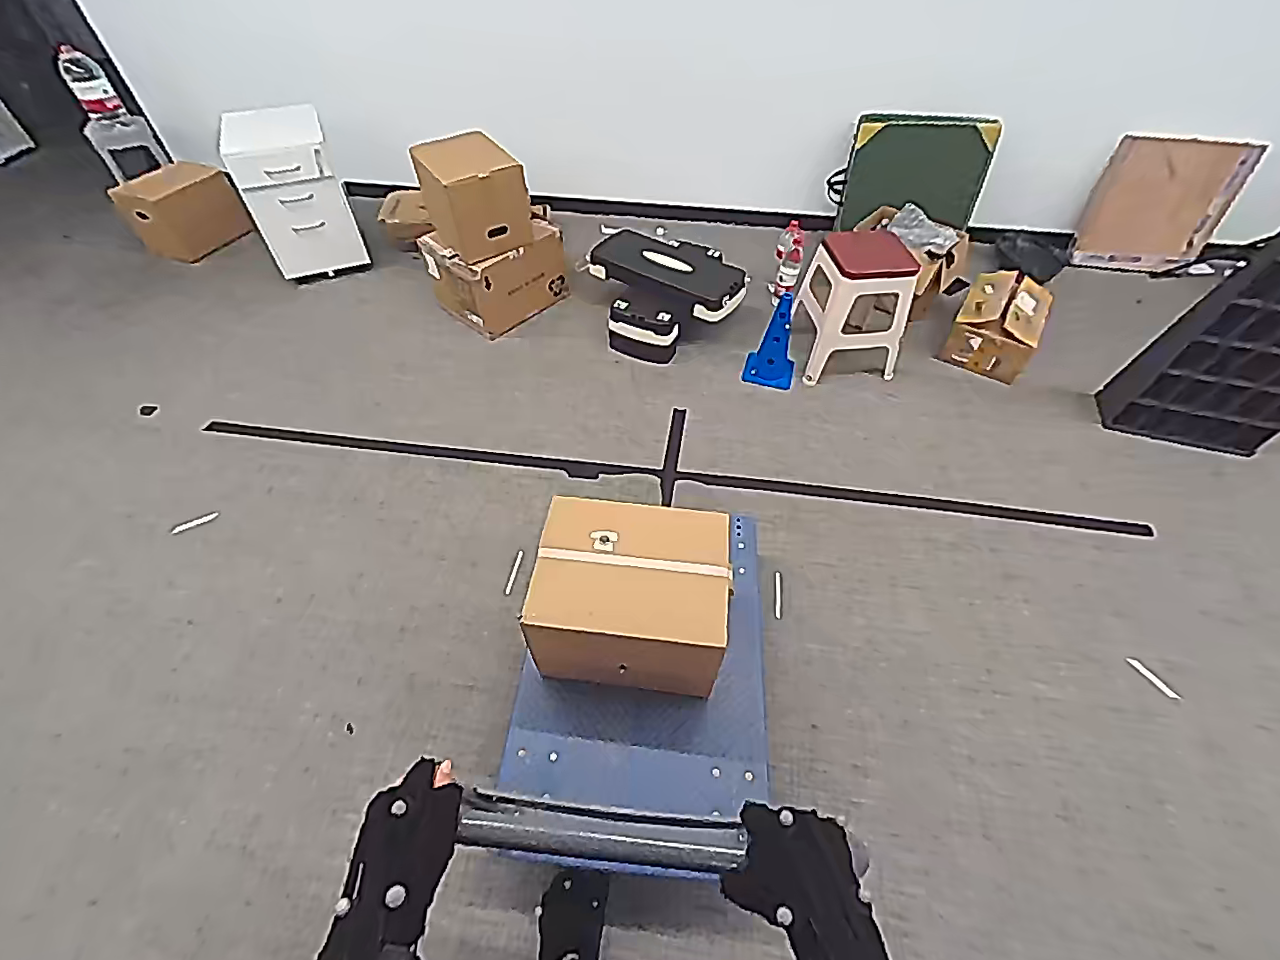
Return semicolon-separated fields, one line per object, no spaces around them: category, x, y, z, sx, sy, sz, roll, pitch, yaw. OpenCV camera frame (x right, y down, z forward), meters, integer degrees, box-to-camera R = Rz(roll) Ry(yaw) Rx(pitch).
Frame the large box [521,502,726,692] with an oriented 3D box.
large box;-0.018;0.277;1.251;0.408;0.320;0.320;5;52;5
